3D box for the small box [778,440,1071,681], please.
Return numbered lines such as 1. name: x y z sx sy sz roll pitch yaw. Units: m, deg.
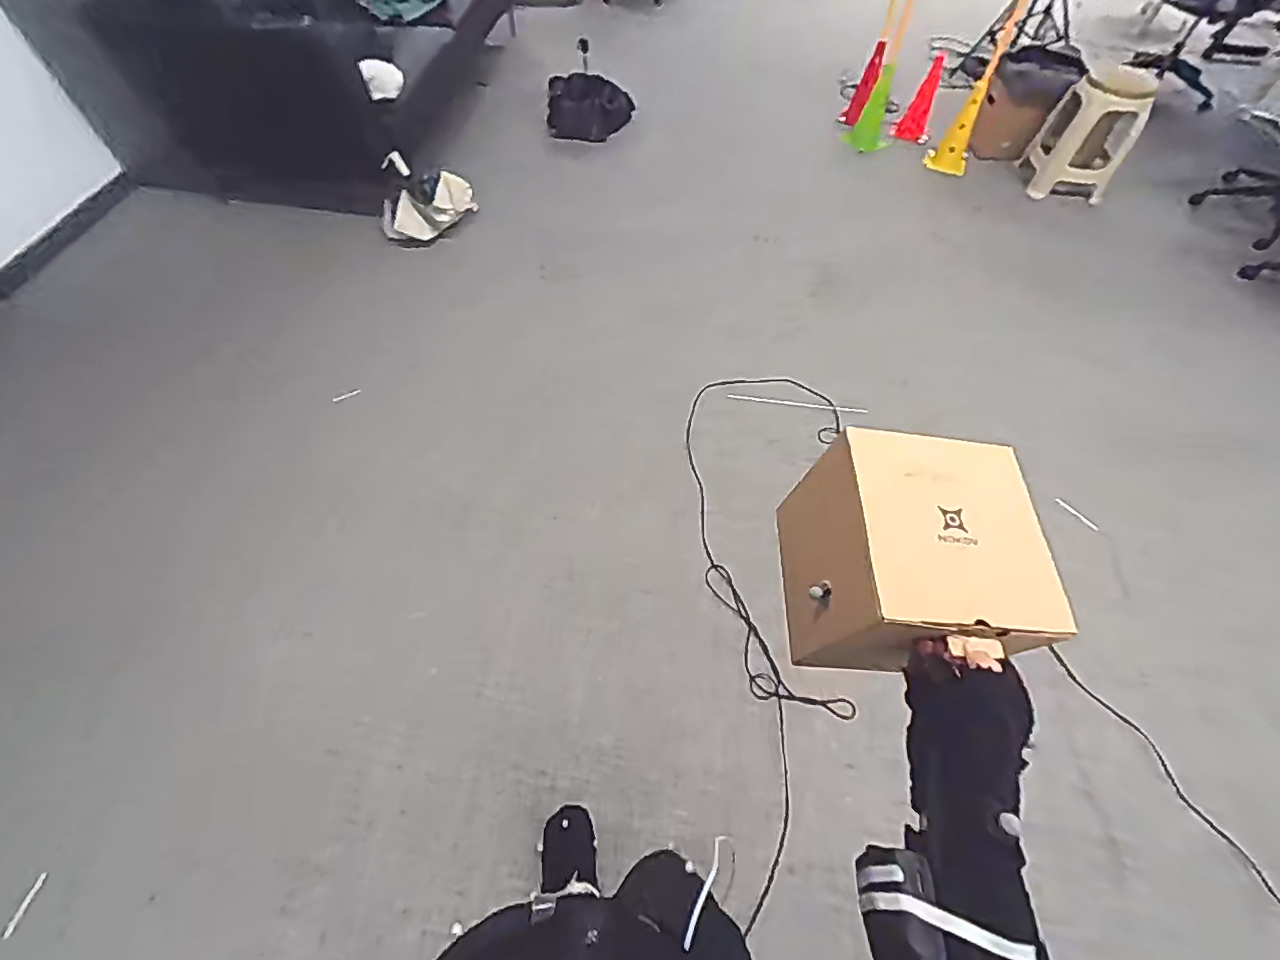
1. small box: 0.243 0.087 0.515 0.168 0.176 0.179 7 60 -7
